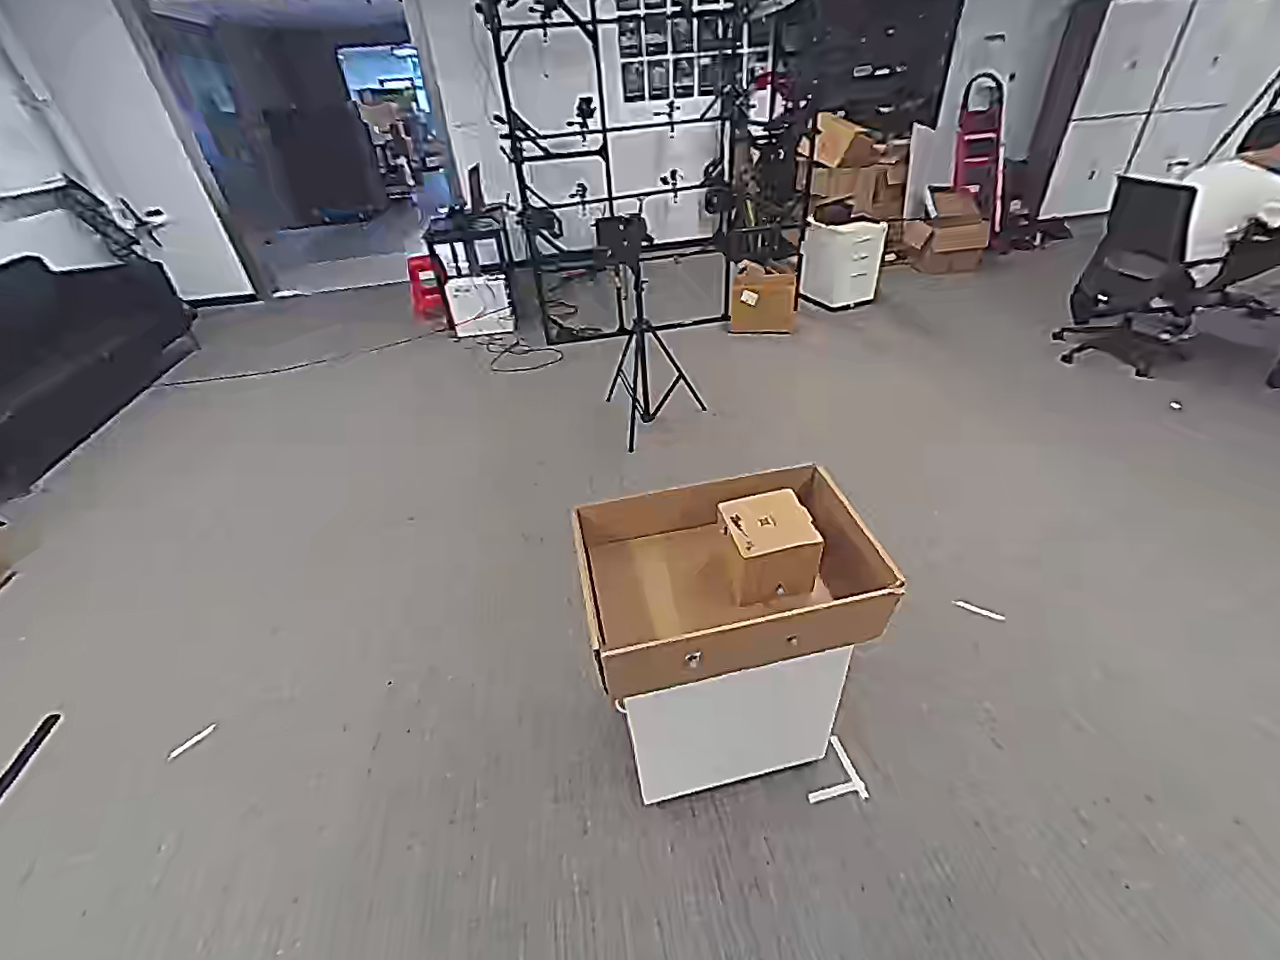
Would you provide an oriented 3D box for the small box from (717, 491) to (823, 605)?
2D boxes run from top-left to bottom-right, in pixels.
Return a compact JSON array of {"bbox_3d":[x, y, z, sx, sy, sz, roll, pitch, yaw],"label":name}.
[{"bbox_3d":[0.278,0.151,1.202,0.179,0.176,0.168,-11,41,-6],"label":"small box"}]
